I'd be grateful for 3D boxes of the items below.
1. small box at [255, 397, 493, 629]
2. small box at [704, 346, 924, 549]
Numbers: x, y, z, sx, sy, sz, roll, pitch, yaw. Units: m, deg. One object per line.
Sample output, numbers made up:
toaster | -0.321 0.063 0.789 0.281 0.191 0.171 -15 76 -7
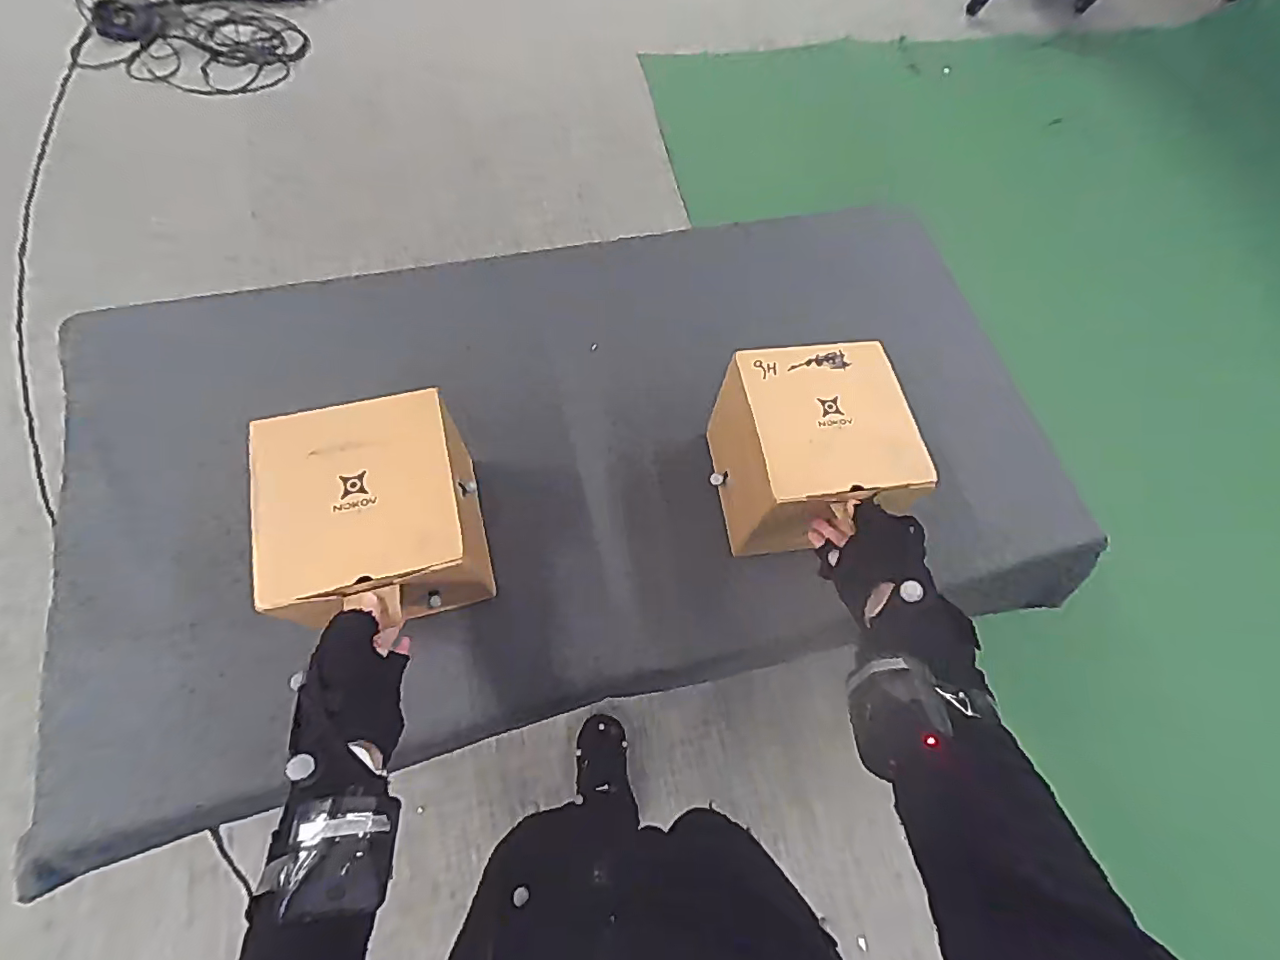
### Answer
small box | -0.257 0.045 0.552 0.168 0.176 0.179 -14 69 -10
small box | 0.179 -0.027 0.618 0.168 0.176 0.179 -6 66 -7
